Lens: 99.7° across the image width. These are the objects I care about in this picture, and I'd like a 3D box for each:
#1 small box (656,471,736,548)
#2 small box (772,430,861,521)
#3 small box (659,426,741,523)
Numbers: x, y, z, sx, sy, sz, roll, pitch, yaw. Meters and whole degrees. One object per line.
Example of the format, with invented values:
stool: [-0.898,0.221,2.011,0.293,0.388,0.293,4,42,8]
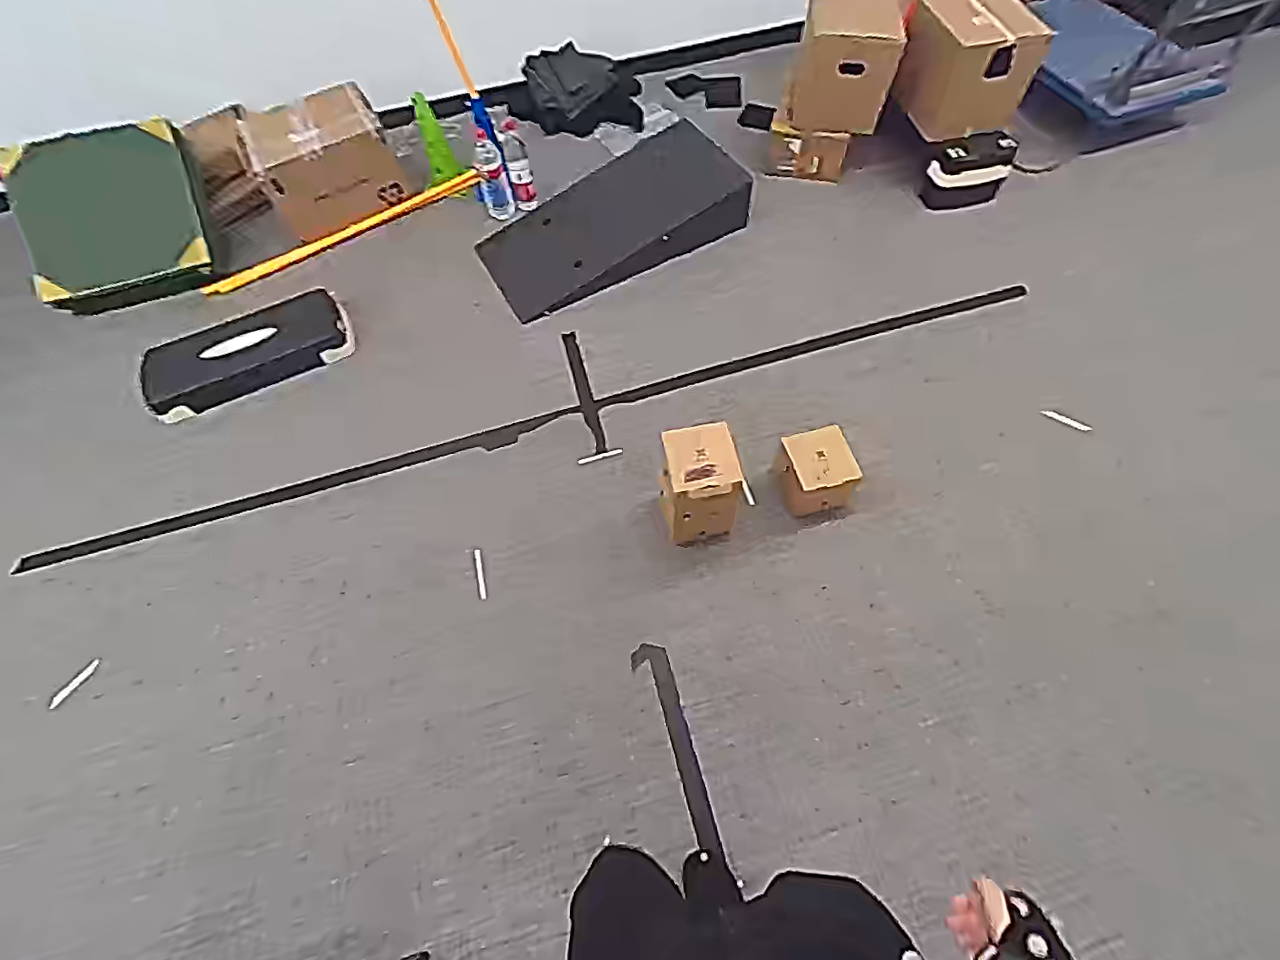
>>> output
small box: [0.146,0.070,1.488,0.179,0.176,0.168,-13,61,-5]
small box: [0.484,-0.010,1.513,0.168,0.176,0.179,-14,62,-4]
small box: [0.144,-0.006,1.341,0.168,0.176,0.179,-9,61,-2]
